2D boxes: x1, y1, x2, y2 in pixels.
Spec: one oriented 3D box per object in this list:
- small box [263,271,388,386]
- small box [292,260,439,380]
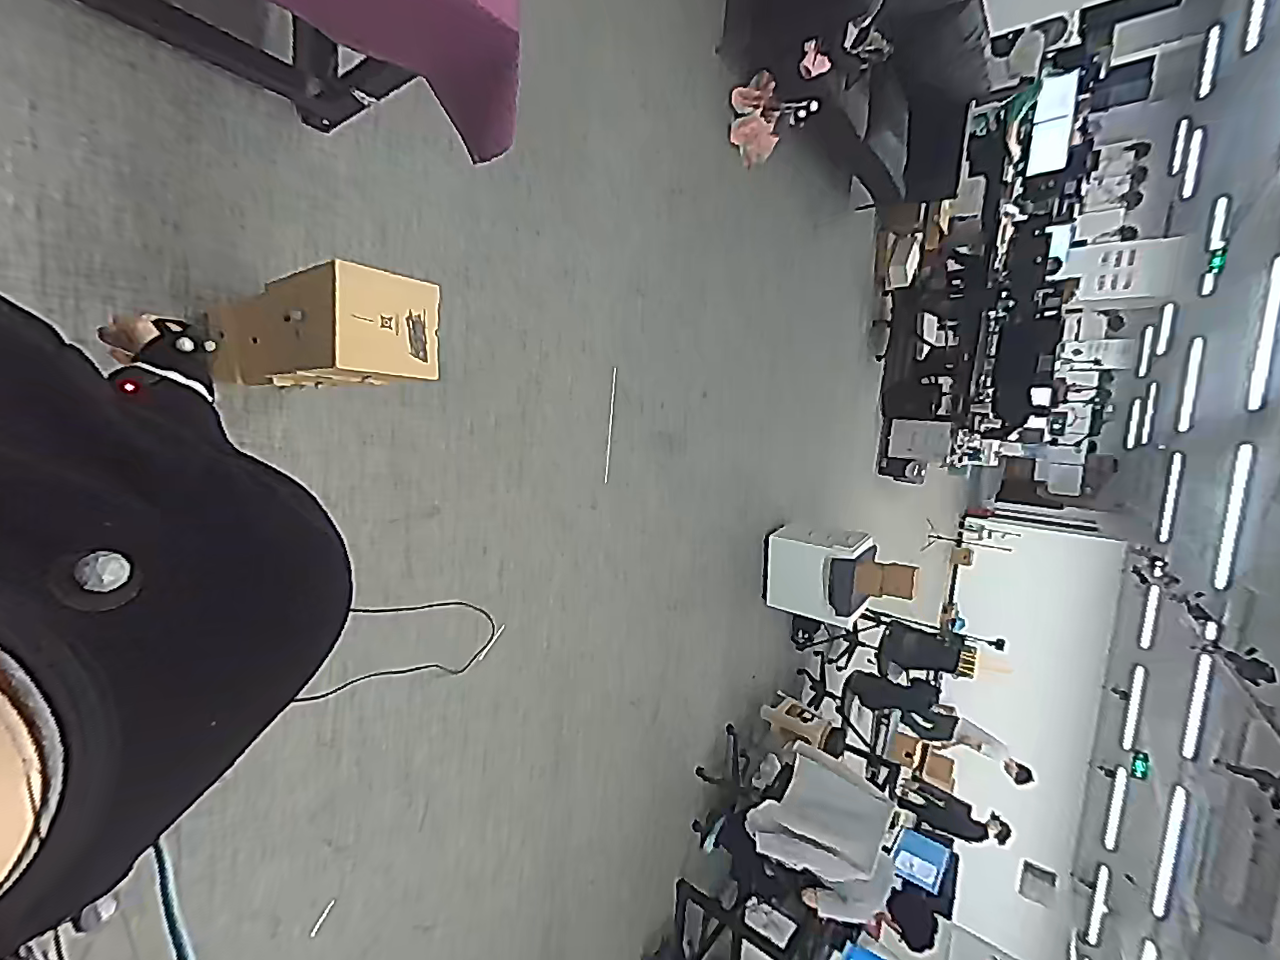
[{"bbox_3d":[-0.602,-0.279,1.039,0.168,0.176,0.179,-1,96,-52],"label":"small box"},{"bbox_3d":[-0.474,-0.265,0.937,0.179,0.176,0.168,-4,98,-51],"label":"small box"}]
